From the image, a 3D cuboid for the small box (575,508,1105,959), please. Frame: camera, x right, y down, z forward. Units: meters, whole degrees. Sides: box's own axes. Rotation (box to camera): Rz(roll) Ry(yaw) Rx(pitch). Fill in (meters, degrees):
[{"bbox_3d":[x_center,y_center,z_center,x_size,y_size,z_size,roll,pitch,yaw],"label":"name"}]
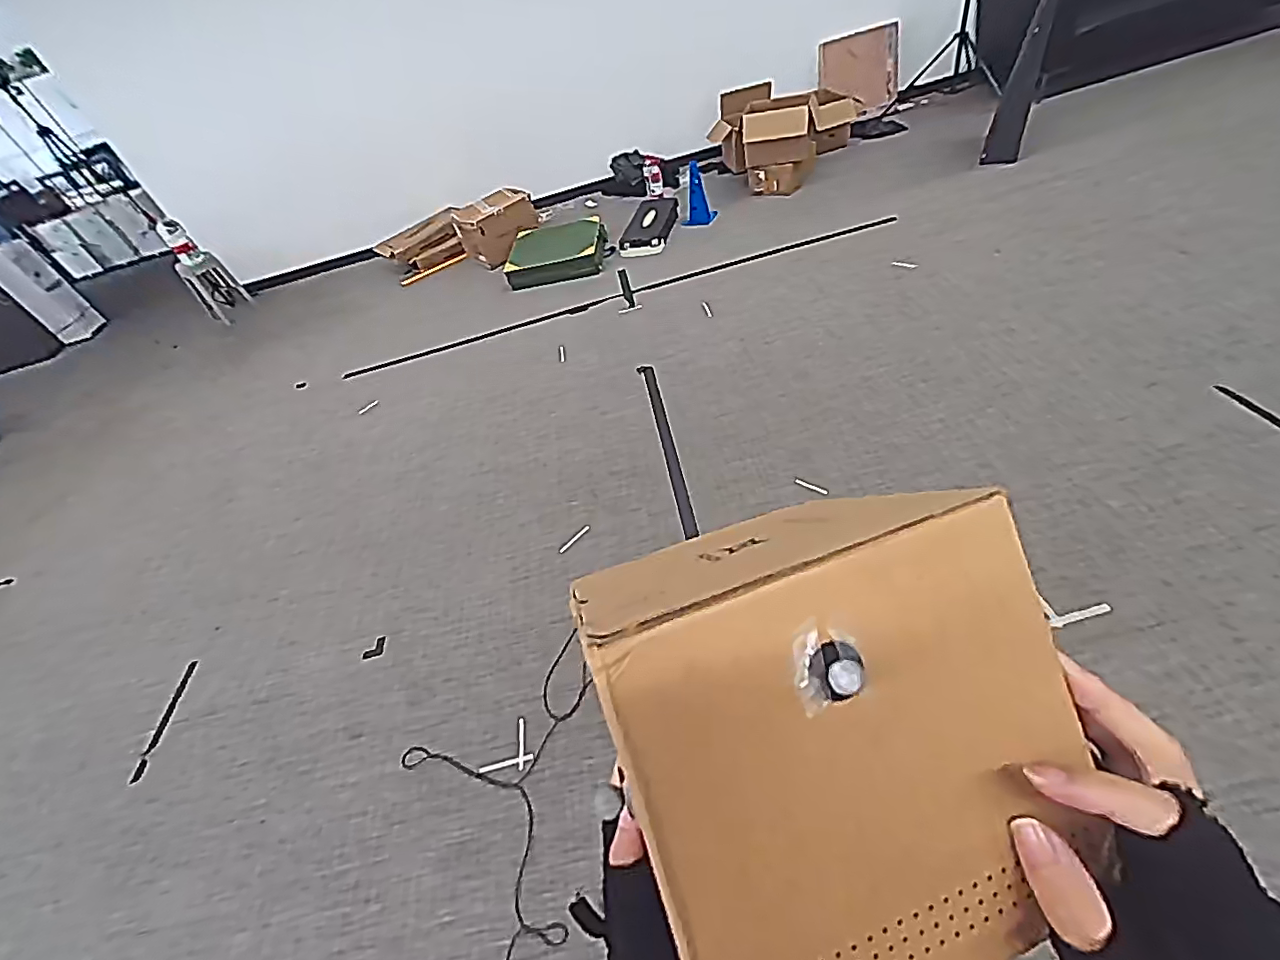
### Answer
[{"bbox_3d":[0.076,0.122,0.275,0.179,0.168,0.176,-17,89,-10],"label":"small box"}]
